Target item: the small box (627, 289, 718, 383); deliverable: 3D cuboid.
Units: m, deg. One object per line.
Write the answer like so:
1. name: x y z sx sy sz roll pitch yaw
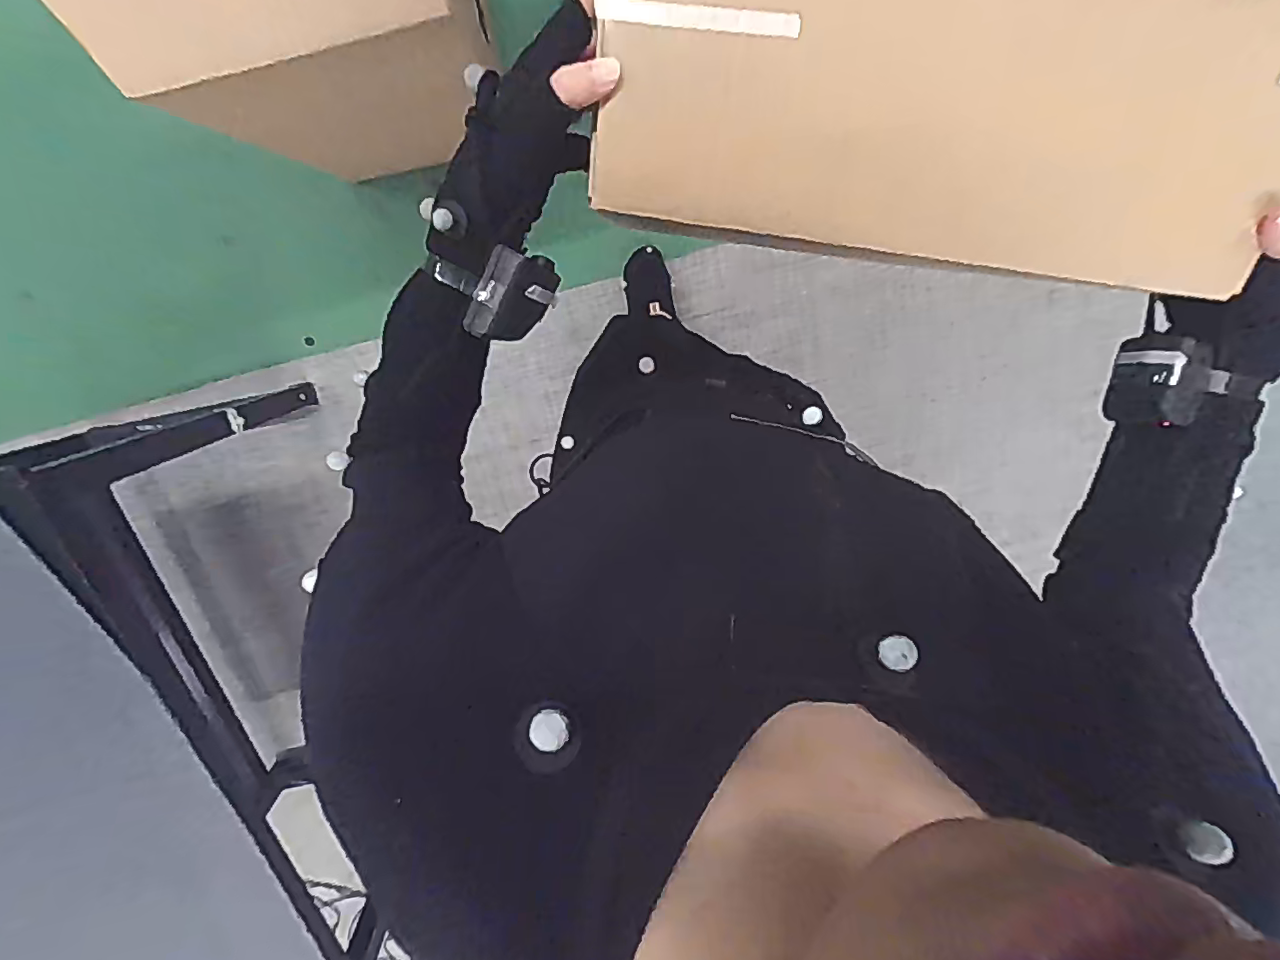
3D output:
1. small box: 0.070 -0.353 1.314 0.168 0.176 0.179 7 113 -14
